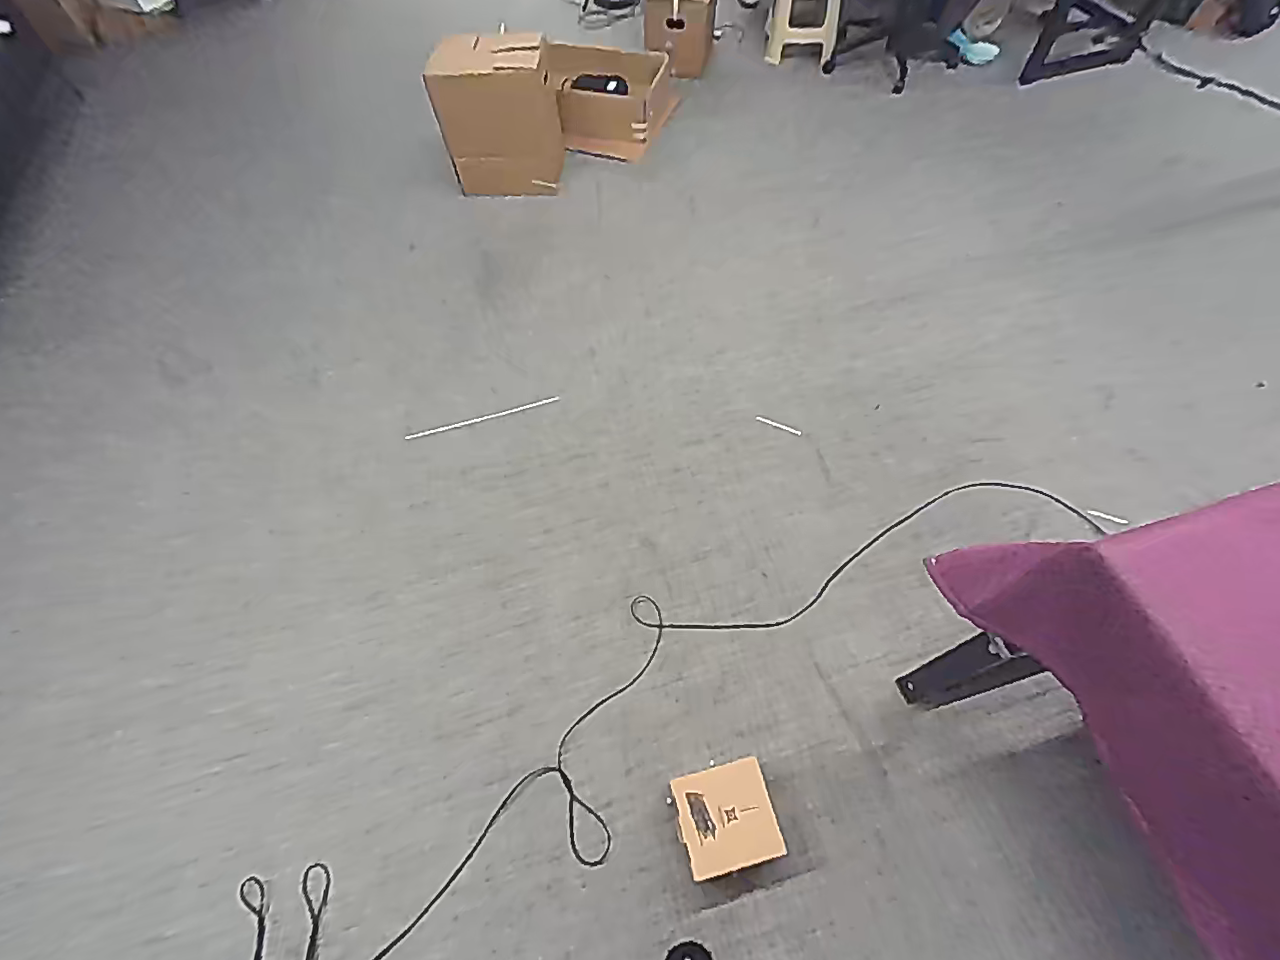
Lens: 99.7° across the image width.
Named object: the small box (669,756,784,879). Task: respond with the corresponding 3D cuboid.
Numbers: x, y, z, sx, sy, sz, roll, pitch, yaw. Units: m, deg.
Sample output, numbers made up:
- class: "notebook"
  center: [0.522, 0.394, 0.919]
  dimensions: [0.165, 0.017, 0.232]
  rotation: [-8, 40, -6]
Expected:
- class: "small box"
  center: [0.161, 0.663, 1.070]
  dimensions: [0.179, 0.176, 0.168]
  rotation: [-13, 60, -6]
